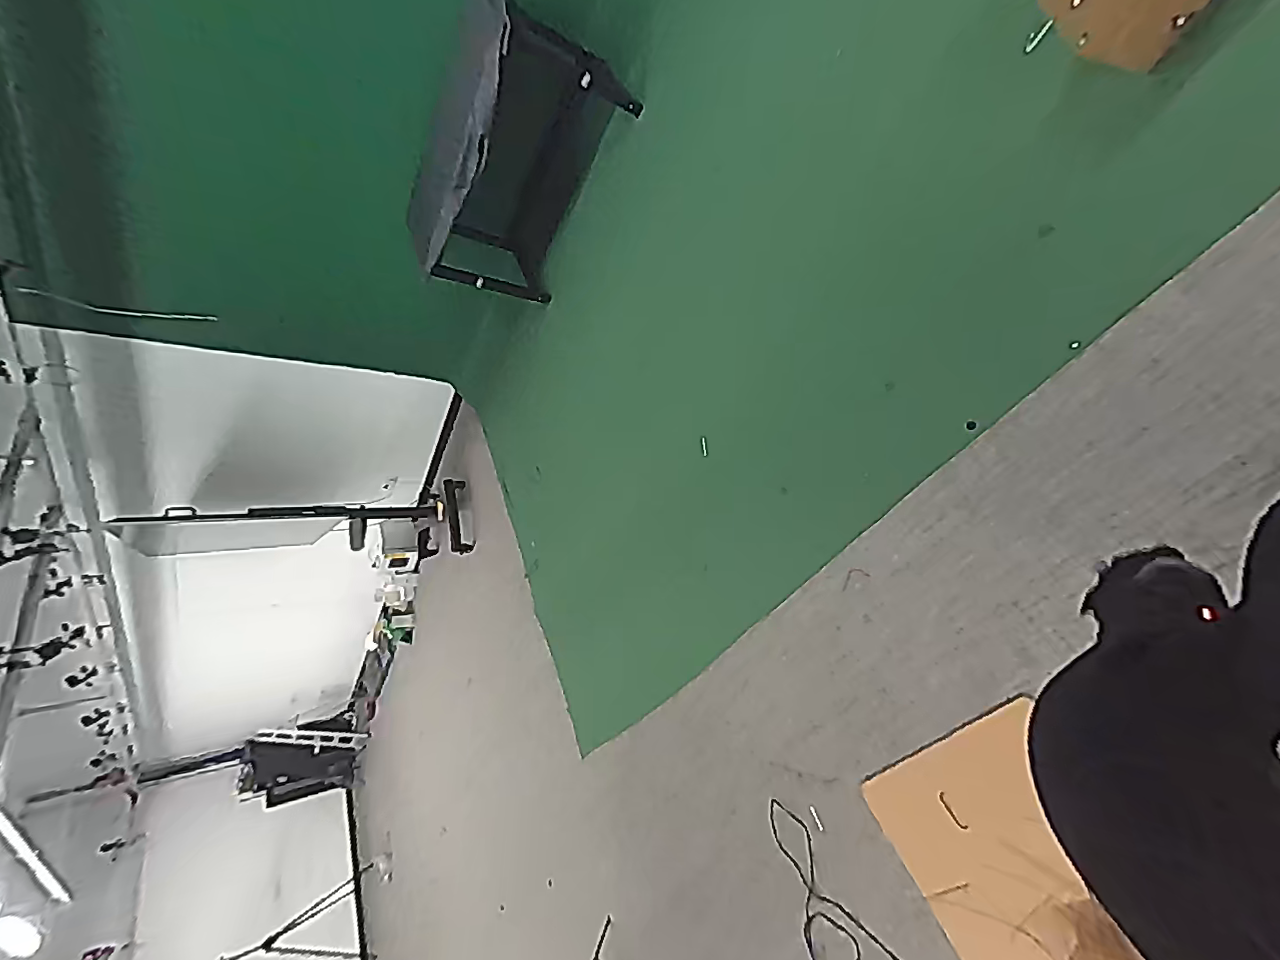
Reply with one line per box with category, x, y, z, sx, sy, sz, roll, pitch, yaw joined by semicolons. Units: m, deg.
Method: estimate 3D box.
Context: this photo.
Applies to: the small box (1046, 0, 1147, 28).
small box;0.884;-1.000;1.016;0.168;0.176;0.179;-58;47;34
